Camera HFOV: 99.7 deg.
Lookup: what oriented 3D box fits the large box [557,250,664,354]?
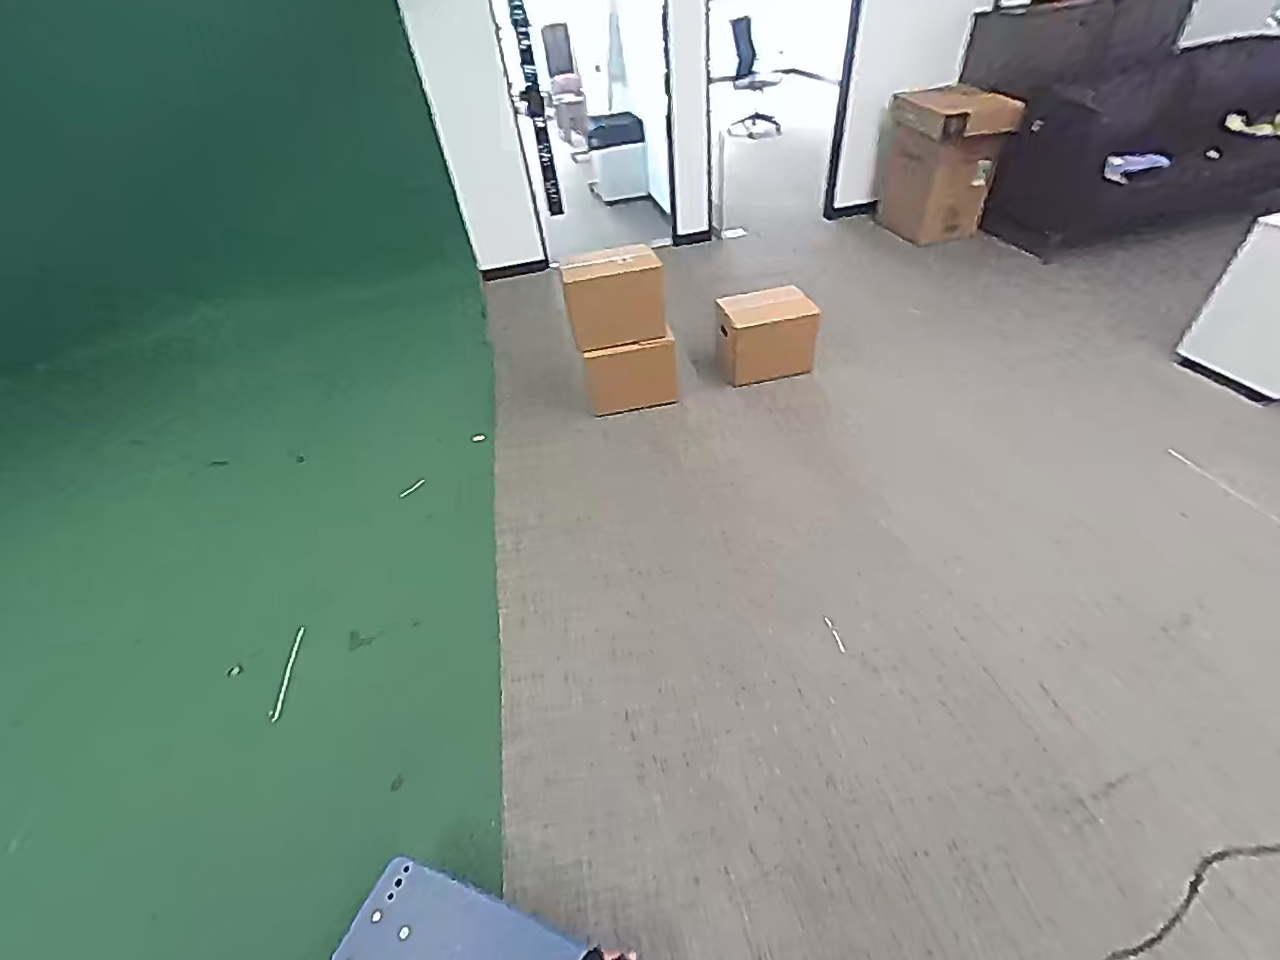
[{"bbox_3d":[-0.130,-0.779,2.358,0.408,0.320,0.320,-11,40,-6],"label":"large box"}]
